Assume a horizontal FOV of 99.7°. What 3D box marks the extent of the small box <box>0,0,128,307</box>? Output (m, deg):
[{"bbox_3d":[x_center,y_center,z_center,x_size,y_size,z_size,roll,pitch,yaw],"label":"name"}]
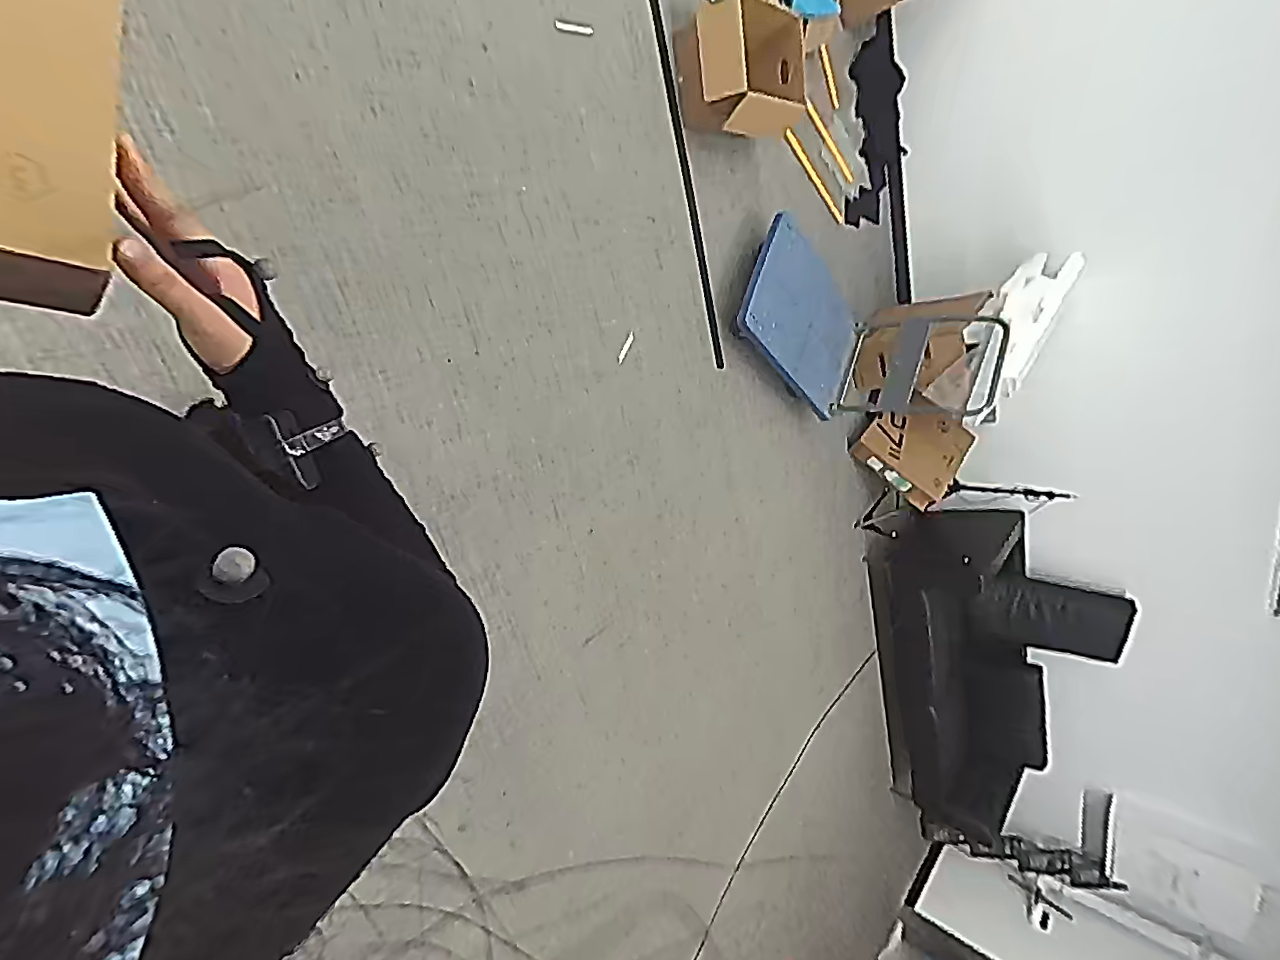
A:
[{"bbox_3d":[-0.390,-0.204,0.282,0.168,0.176,0.179,2,91,-49],"label":"small box"}]
